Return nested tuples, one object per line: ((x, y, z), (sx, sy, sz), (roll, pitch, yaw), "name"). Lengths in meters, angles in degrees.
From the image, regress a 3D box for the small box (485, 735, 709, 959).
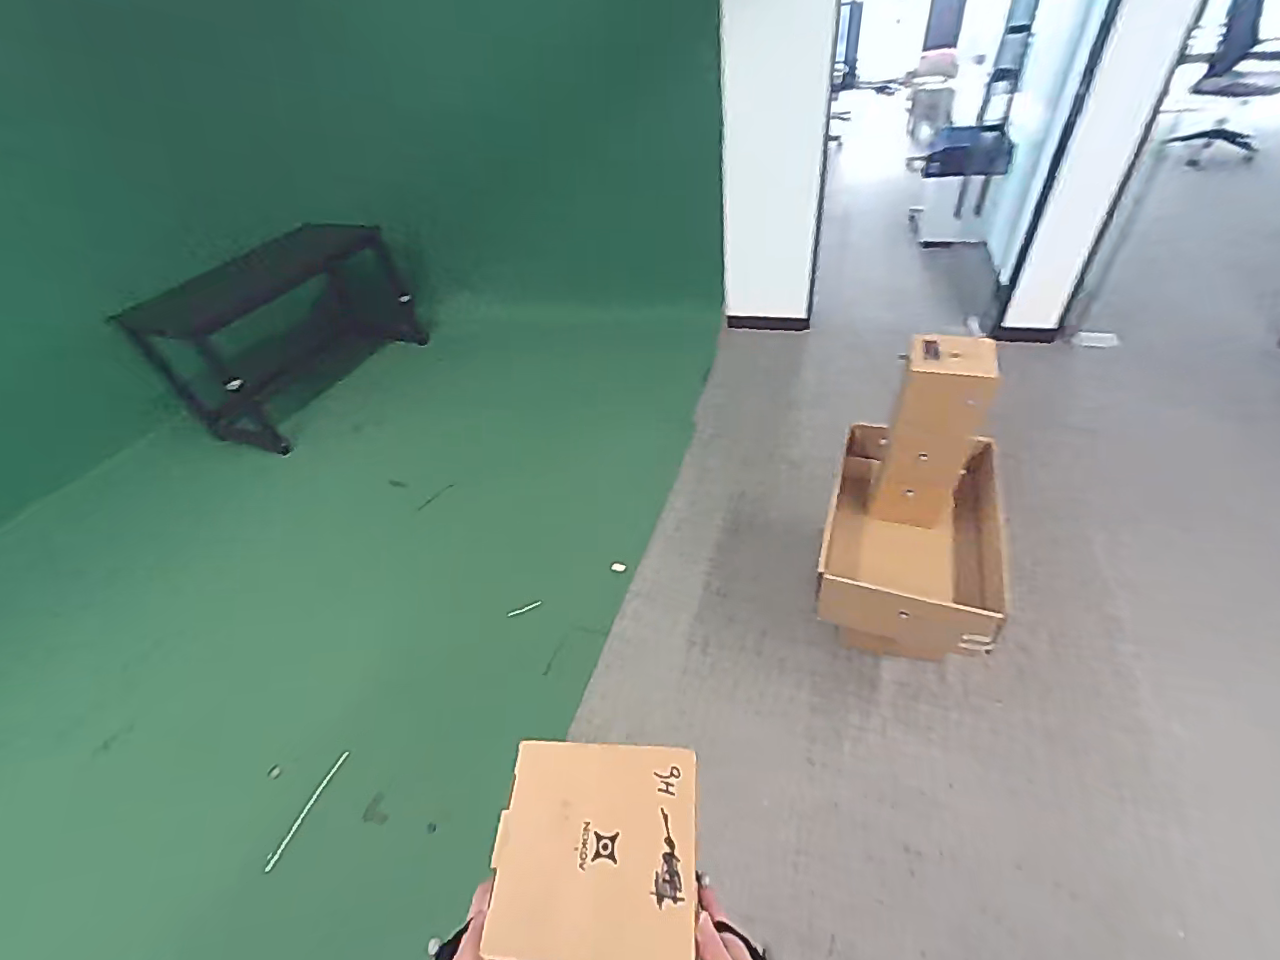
((-0.023, 0.369, 0.533), (0.179, 0.176, 0.168), (1, 50, 8), "small box")

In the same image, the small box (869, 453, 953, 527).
((0.756, 0.011, 1.511), (0.179, 0.176, 0.168), (11, 47, 20), "small box")

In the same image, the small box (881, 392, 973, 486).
((0.736, -0.104, 1.396), (0.179, 0.176, 0.168), (9, 46, 19), "small box")
